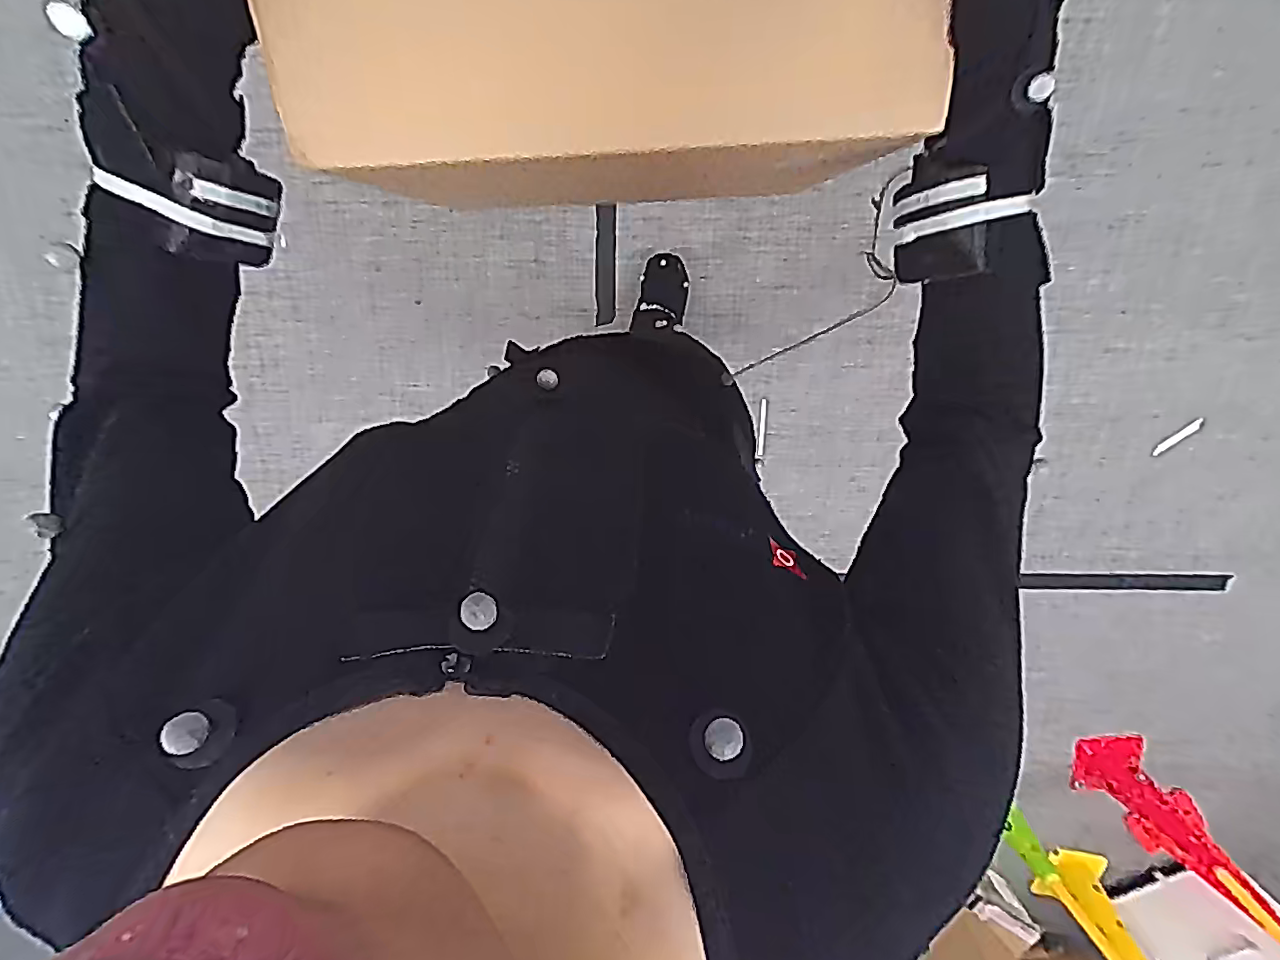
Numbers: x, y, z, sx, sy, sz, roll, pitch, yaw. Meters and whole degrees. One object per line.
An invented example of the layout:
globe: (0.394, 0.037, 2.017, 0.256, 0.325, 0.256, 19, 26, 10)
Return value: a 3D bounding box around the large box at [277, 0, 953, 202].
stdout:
large box: (-0.022, -0.420, 0.423, 0.408, 0.320, 0.320, -3, 112, 1)
